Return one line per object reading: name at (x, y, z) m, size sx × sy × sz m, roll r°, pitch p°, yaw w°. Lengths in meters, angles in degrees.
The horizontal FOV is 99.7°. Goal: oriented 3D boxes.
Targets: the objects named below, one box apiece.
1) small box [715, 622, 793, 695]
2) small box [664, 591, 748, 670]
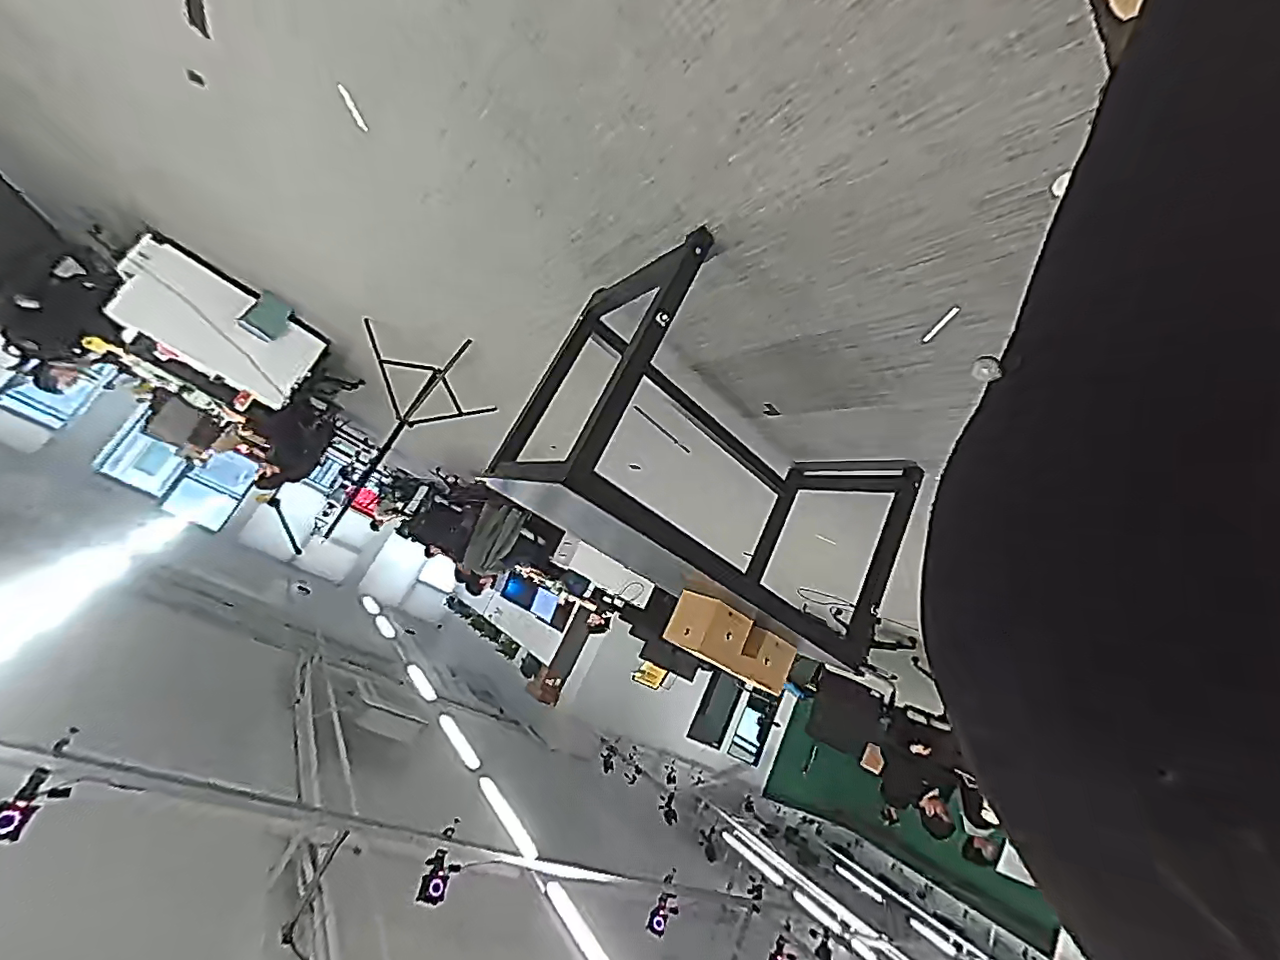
small box at (0.384, 0.579, 1.791) m, size 0.168 × 0.176 × 0.179 m, roll 36°, pitch 163°, yaw -28°
small box at (0.212, 0.459, 1.674) m, size 0.168 × 0.176 × 0.179 m, roll 36°, pitch 162°, yaw -29°
